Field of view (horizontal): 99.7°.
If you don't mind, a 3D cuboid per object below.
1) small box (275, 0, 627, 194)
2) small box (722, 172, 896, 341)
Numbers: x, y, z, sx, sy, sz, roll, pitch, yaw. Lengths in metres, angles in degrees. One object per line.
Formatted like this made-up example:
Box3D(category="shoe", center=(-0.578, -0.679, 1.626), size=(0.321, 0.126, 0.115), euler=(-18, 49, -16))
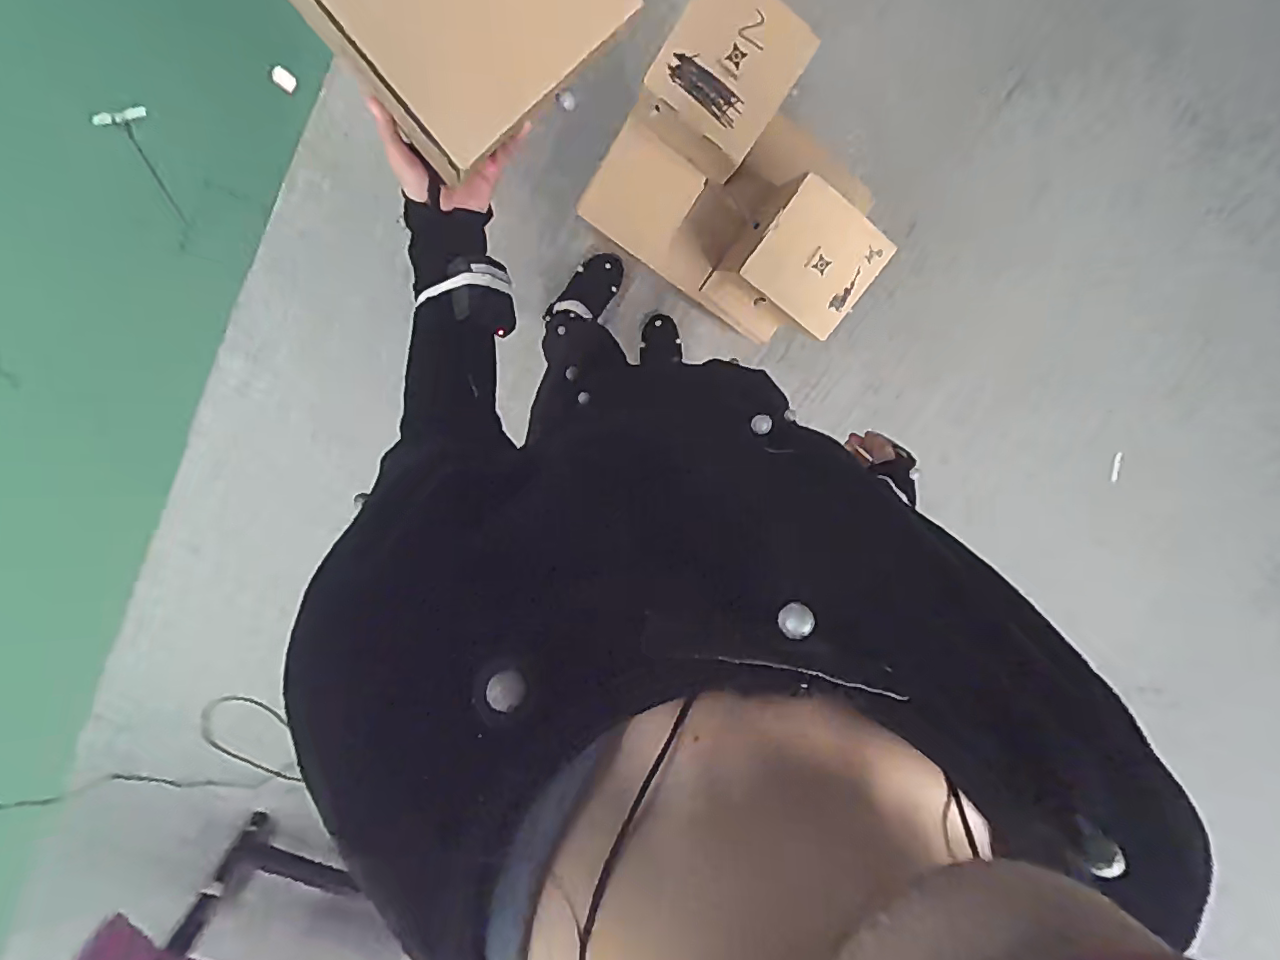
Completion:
Box3D(category="small box", center=(-0.140, -0.339, 0.383), size=(0.176, 0.168, 0.179), euler=(-43, 121, 3))
Box3D(category="small box", center=(0.252, -0.344, 0.857), size=(0.179, 0.176, 0.168), euler=(34, 107, -13))
